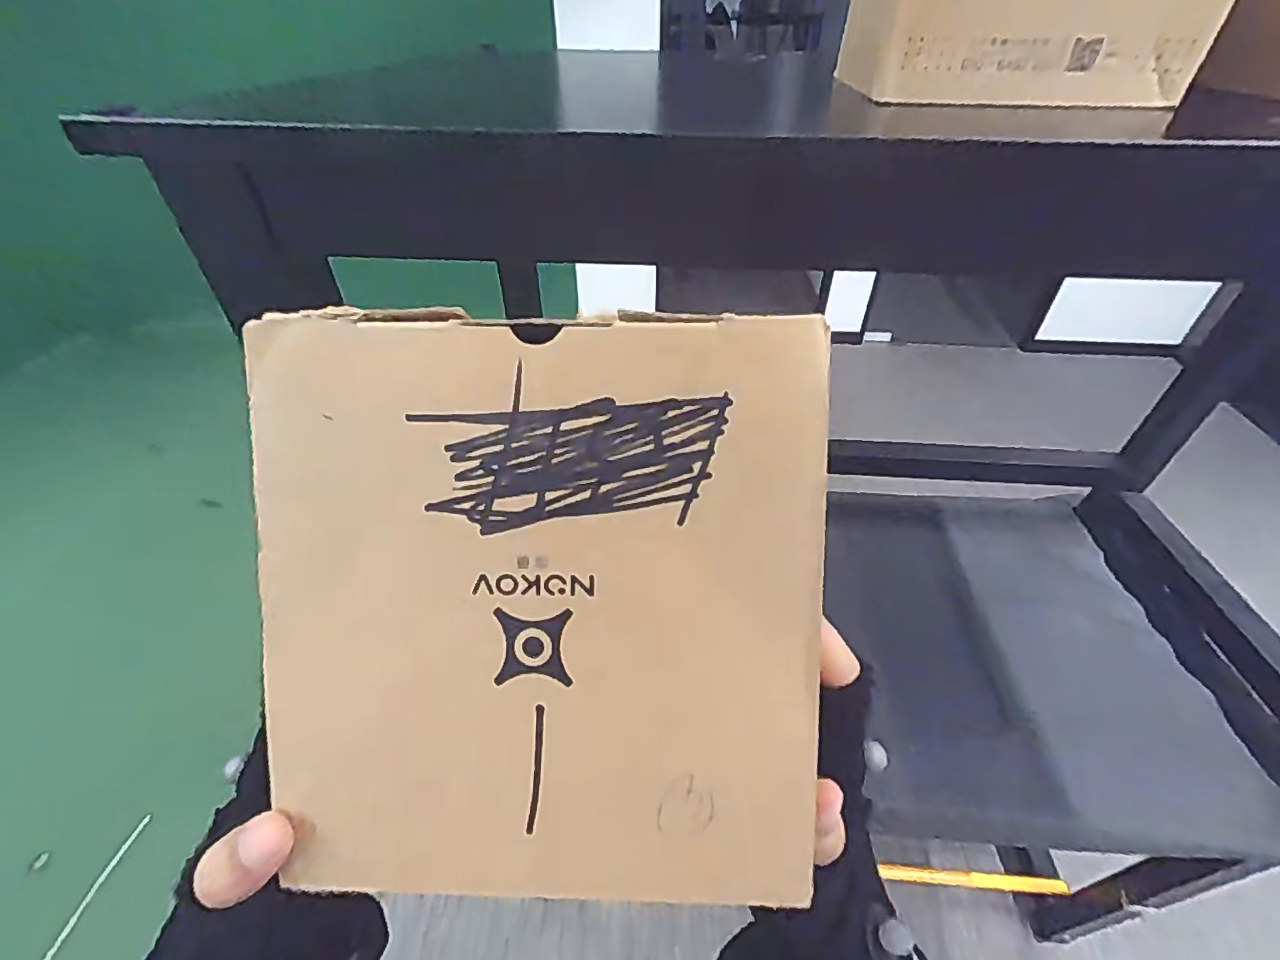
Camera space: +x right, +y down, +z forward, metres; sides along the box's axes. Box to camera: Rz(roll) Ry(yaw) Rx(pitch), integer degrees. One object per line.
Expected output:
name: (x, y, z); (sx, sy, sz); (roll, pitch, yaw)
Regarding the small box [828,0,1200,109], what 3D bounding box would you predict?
small box: (0.221, -0.331, 0.323); (0.168, 0.176, 0.179); (4, 40, 6)
